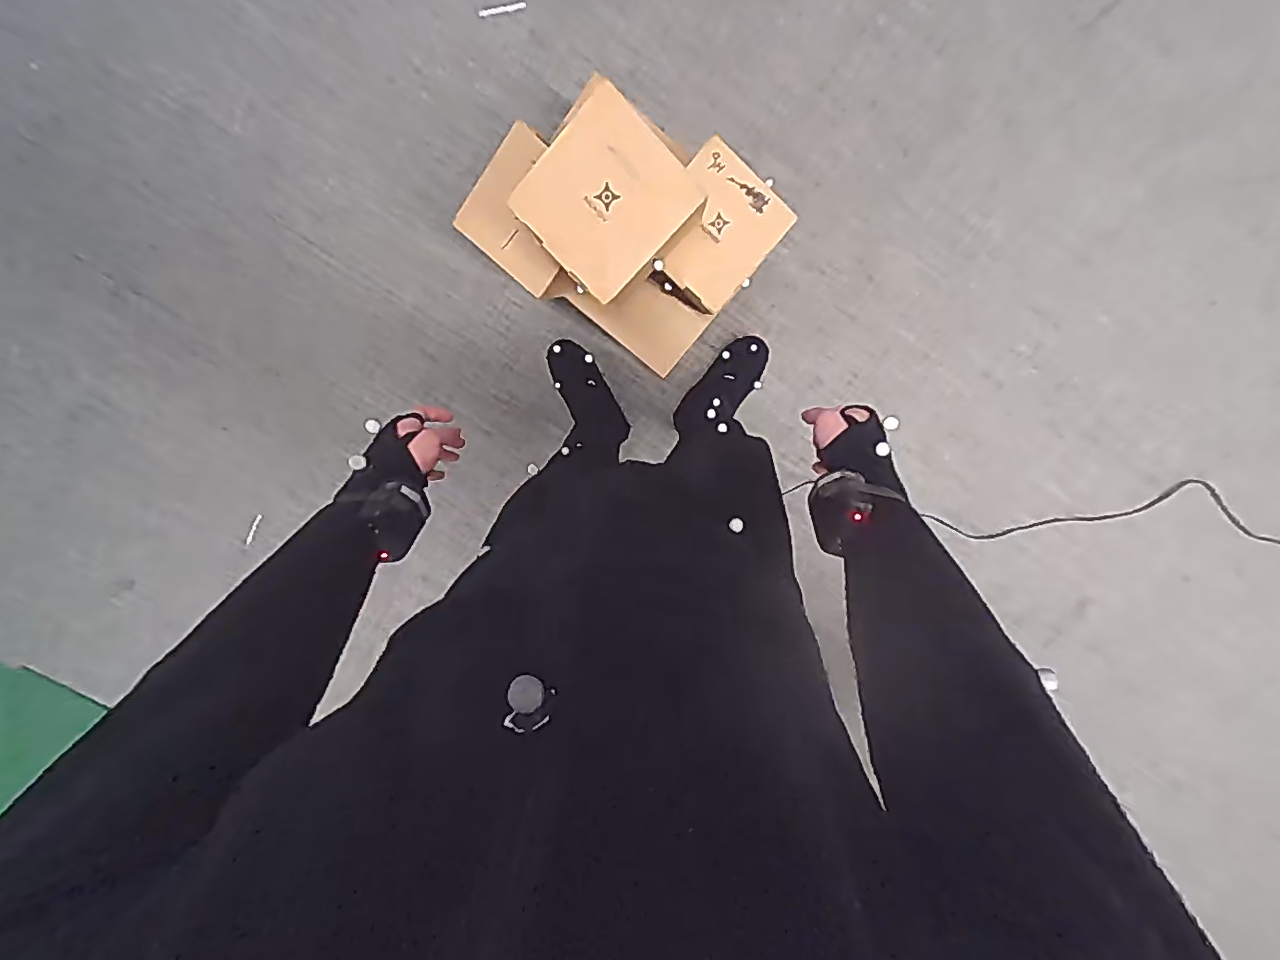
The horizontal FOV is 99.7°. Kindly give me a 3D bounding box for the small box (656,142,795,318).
[{"bbox_3d":[0.111,-0.374,0.850,0.168,0.176,0.179,41,104,-8],"label":"small box"}]

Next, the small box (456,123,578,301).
[{"bbox_3d":[-0.150,-0.407,0.854,0.168,0.176,0.179,41,107,-9],"label":"small box"}]

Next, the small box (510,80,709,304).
[{"bbox_3d":[-0.032,-0.344,0.695,0.179,0.176,0.168,-43,101,12],"label":"small box"}]
